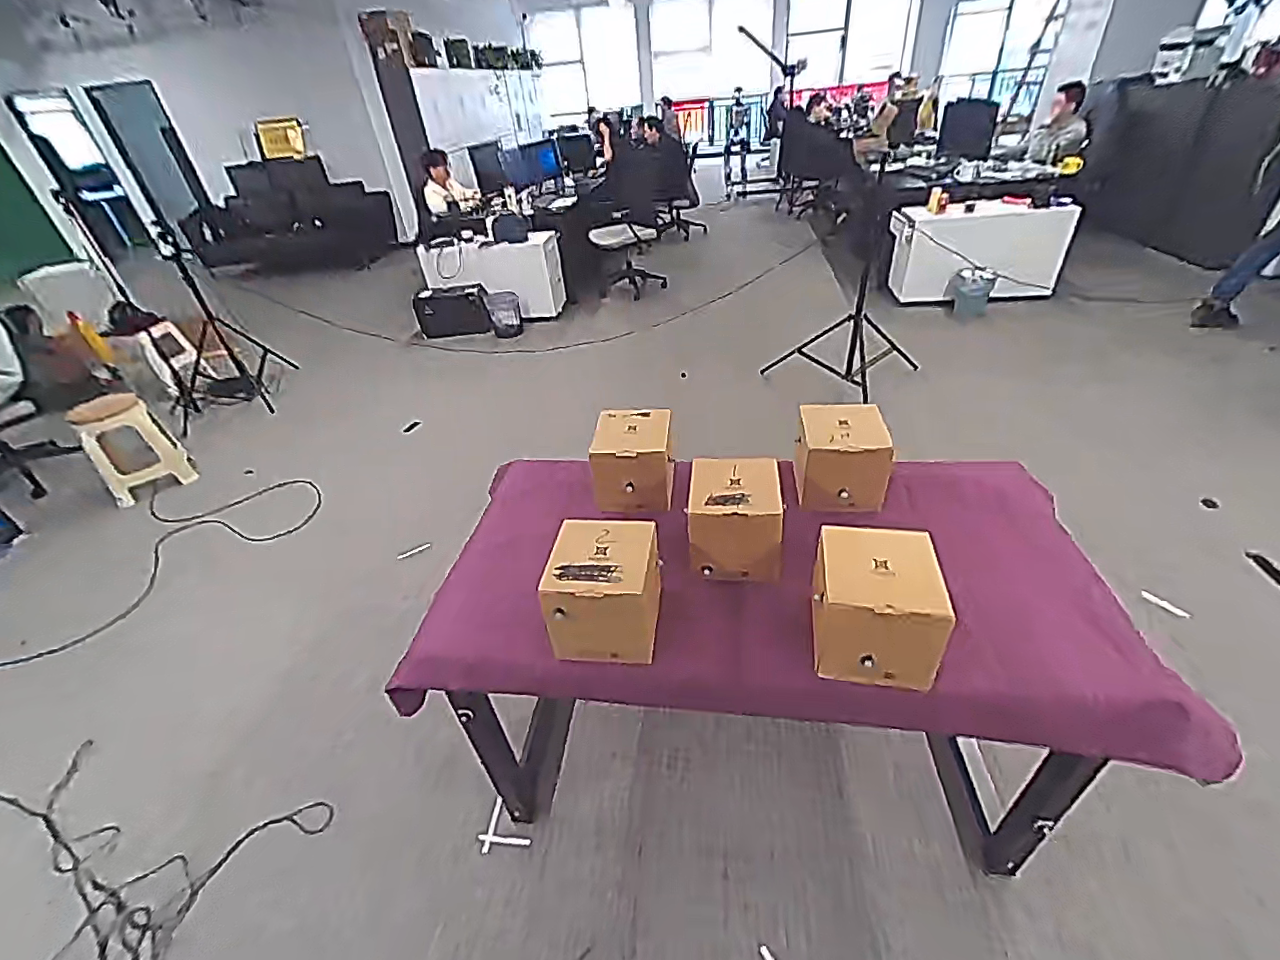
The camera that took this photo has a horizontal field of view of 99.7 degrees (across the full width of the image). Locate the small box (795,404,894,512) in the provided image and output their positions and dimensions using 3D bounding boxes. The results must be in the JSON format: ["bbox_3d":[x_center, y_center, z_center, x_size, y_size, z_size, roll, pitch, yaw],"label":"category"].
[{"bbox_3d":[0.434,-0.050,1.180,0.168,0.176,0.179,-1,38,10],"label":"small box"}]

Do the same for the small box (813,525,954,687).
[{"bbox_3d":[0.370,0.195,0.859,0.168,0.176,0.179,3,36,13],"label":"small box"}]

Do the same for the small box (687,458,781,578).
[{"bbox_3d":[0.184,0.074,1.054,0.168,0.176,0.179,0,36,9],"label":"small box"}]

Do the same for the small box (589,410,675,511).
[{"bbox_3d":[-0.010,-0.043,1.239,0.168,0.176,0.179,0,39,8],"label":"small box"}]
